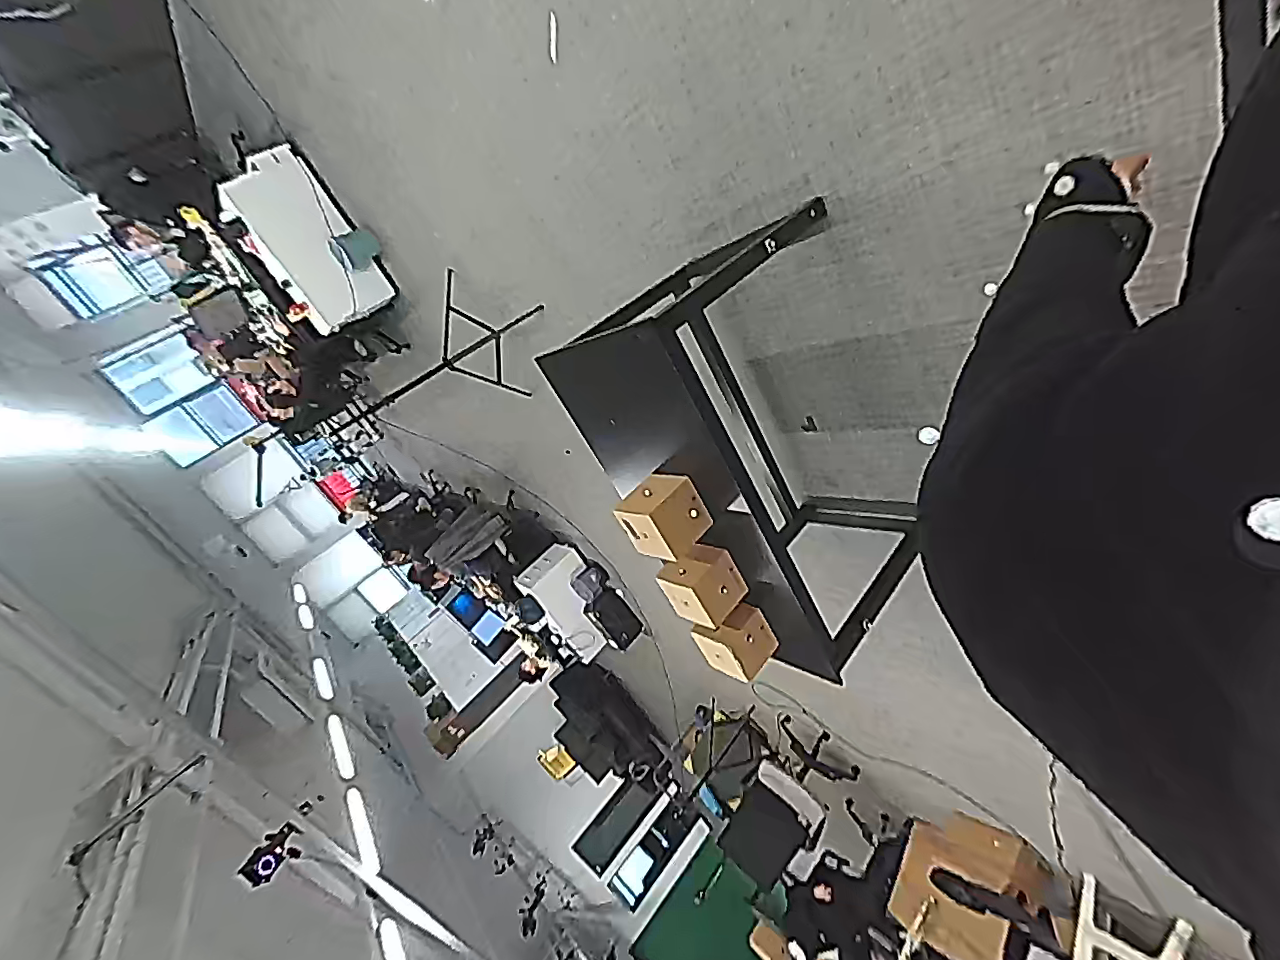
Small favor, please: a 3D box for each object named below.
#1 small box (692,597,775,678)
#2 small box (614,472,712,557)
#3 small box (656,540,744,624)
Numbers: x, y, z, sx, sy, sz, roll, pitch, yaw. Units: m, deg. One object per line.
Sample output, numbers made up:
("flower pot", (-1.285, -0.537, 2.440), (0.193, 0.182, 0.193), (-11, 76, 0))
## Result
("small box", (0.304, 0.487, 1.716), (0.179, 0.176, 0.168), (5, 131, 56))
("small box", (0.067, 0.089, 1.514), (0.179, 0.176, 0.168), (5, 132, 55))
("small box", (0.188, 0.299, 1.623), (0.179, 0.176, 0.168), (5, 131, 55))
